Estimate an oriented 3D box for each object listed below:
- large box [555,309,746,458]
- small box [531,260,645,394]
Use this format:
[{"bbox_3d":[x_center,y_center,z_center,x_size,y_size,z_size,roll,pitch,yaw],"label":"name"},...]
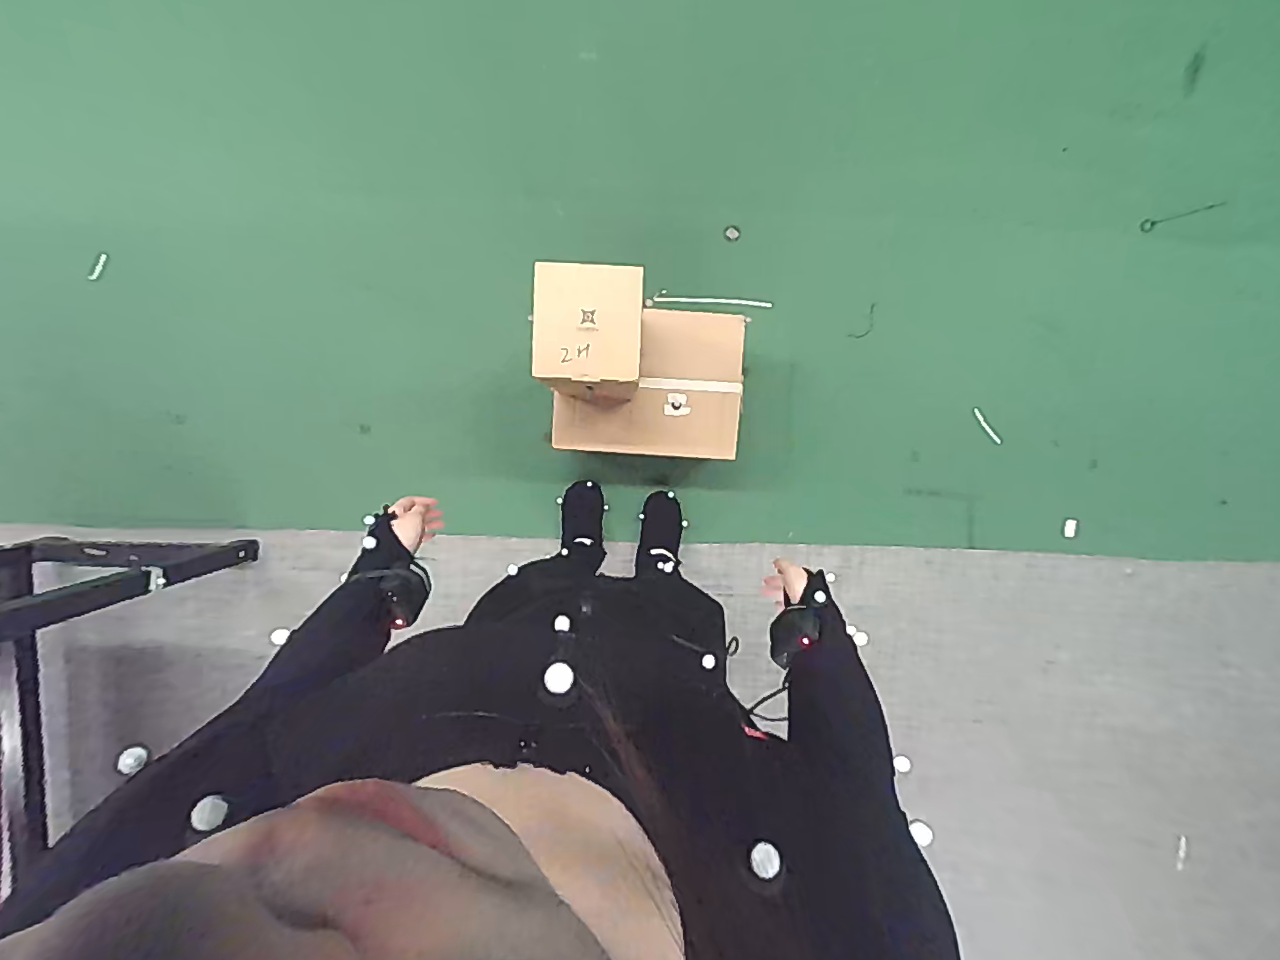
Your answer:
[{"bbox_3d":[0.015,-0.217,1.300,0.408,0.320,0.320,3,95,-1],"label":"large box"},{"bbox_3d":[-0.081,-0.241,0.888,0.168,0.176,0.179,2,94,-1],"label":"small box"}]
